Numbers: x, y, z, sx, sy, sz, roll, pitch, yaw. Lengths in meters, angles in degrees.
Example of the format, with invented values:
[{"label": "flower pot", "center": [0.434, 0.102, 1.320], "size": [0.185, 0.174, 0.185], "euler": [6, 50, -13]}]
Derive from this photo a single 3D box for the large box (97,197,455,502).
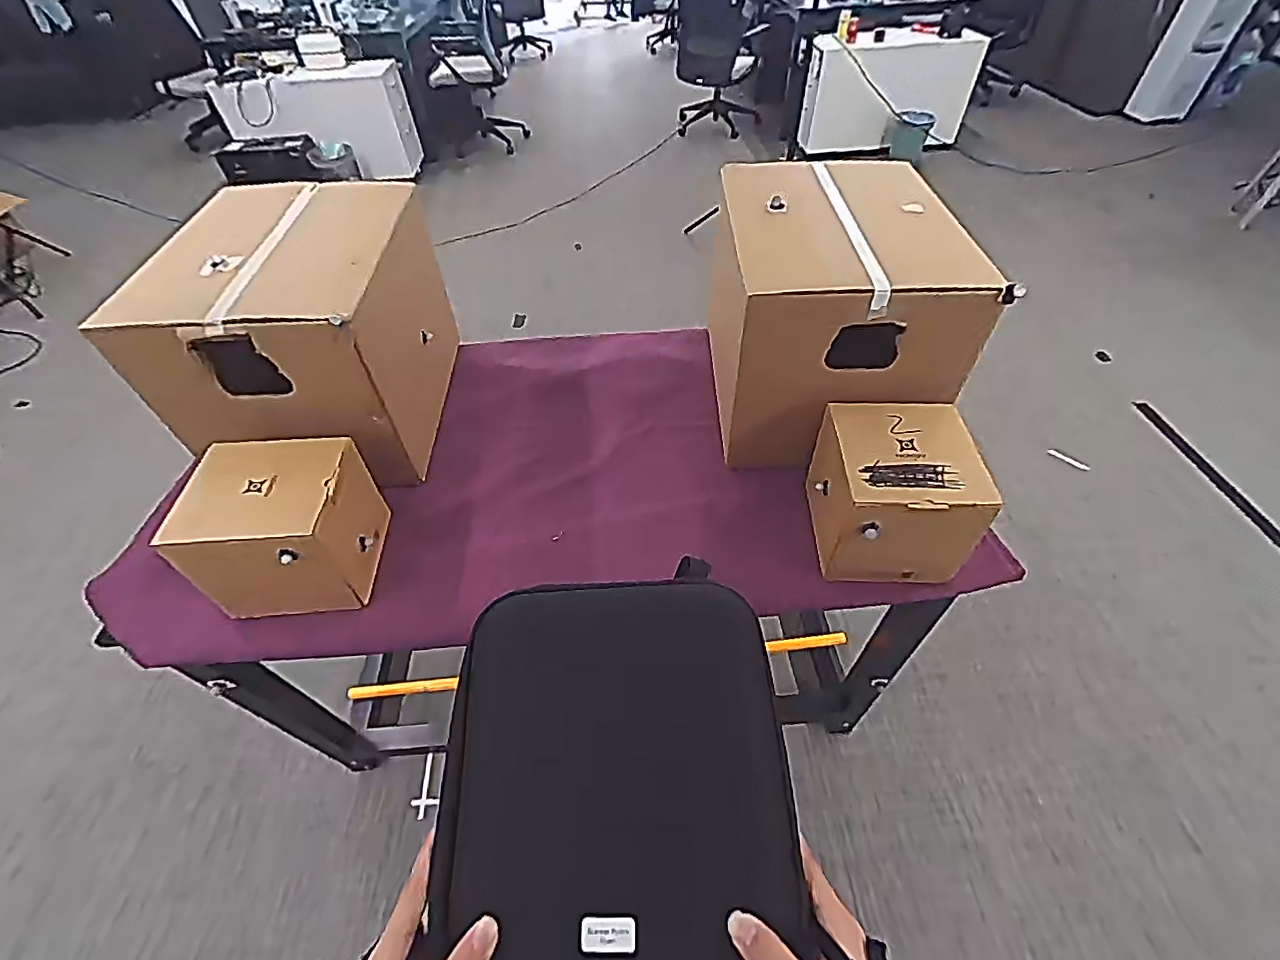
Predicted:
[{"label": "large box", "center": [-0.516, -0.219, 0.889], "size": [0.320, 0.320, 0.408], "euler": [-4, 51, -2]}]
